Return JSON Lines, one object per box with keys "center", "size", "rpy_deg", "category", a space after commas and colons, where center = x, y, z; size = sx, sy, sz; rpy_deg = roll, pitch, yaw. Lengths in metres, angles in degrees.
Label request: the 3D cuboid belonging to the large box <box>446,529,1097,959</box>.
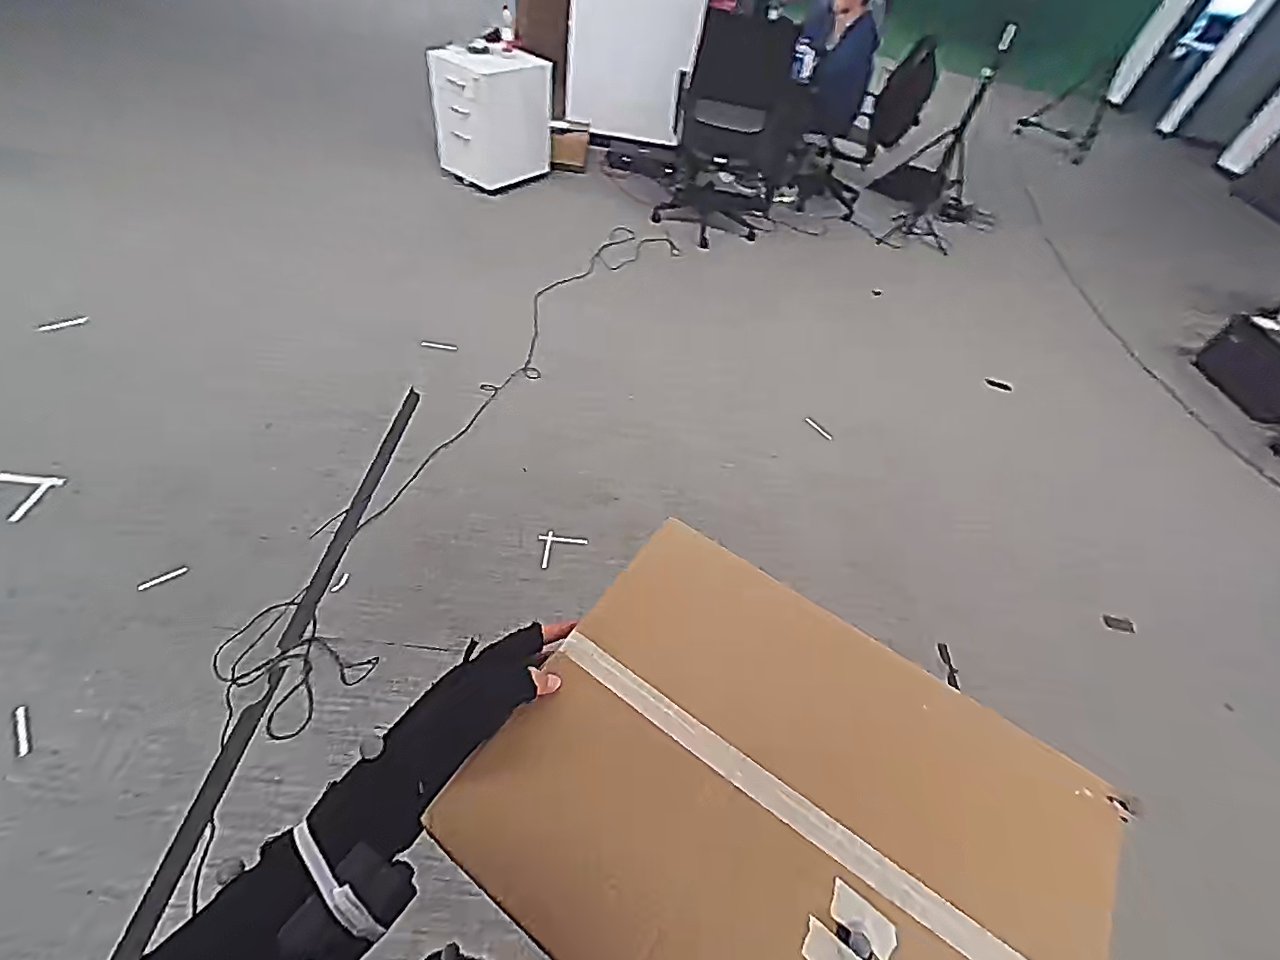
{"center": [0.096, 0.325, 0.515], "size": [0.408, 0.320, 0.320], "rpy_deg": [31, 57, 18], "category": "large box"}
